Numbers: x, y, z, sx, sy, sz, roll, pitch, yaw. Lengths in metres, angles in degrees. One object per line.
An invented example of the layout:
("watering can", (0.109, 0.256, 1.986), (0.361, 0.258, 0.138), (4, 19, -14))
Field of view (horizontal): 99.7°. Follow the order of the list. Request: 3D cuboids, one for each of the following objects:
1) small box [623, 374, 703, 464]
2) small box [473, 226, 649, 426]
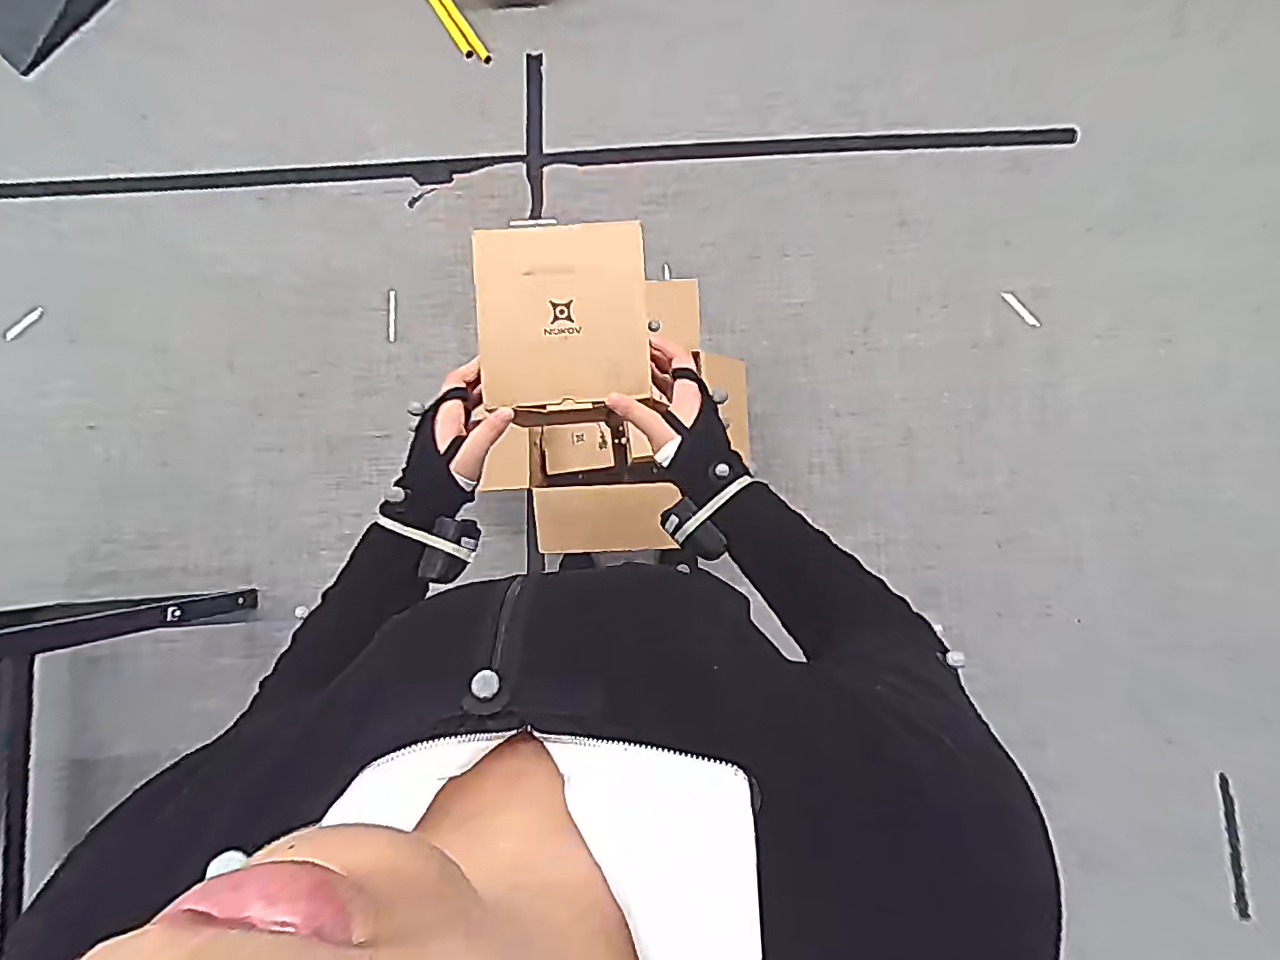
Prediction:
("small box", (0.046, -0.134, 1.263), (0.168, 0.176, 0.179), (-8, 85, -4))
("small box", (-0.076, -0.154, 0.602), (0.168, 0.176, 0.179), (-4, 89, -1))
